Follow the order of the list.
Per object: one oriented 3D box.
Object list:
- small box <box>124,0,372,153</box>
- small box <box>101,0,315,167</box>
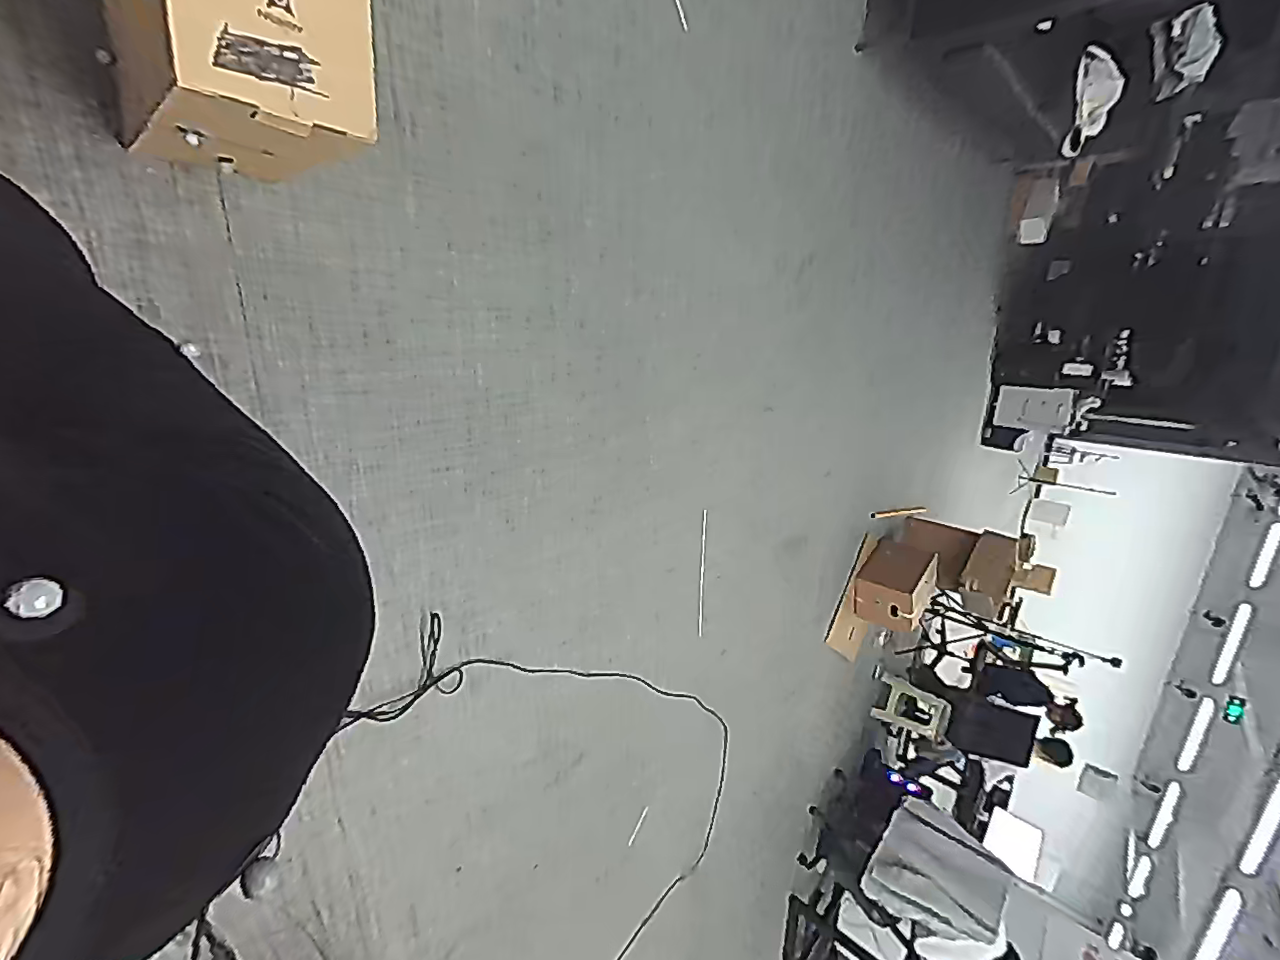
[{"bbox_3d":[-0.384,-0.447,0.531,0.168,0.176,0.179,-12,111,-47],"label":"small box"},{"bbox_3d":[-0.504,-0.490,0.636,0.168,0.176,0.179,-14,114,-47],"label":"small box"}]
